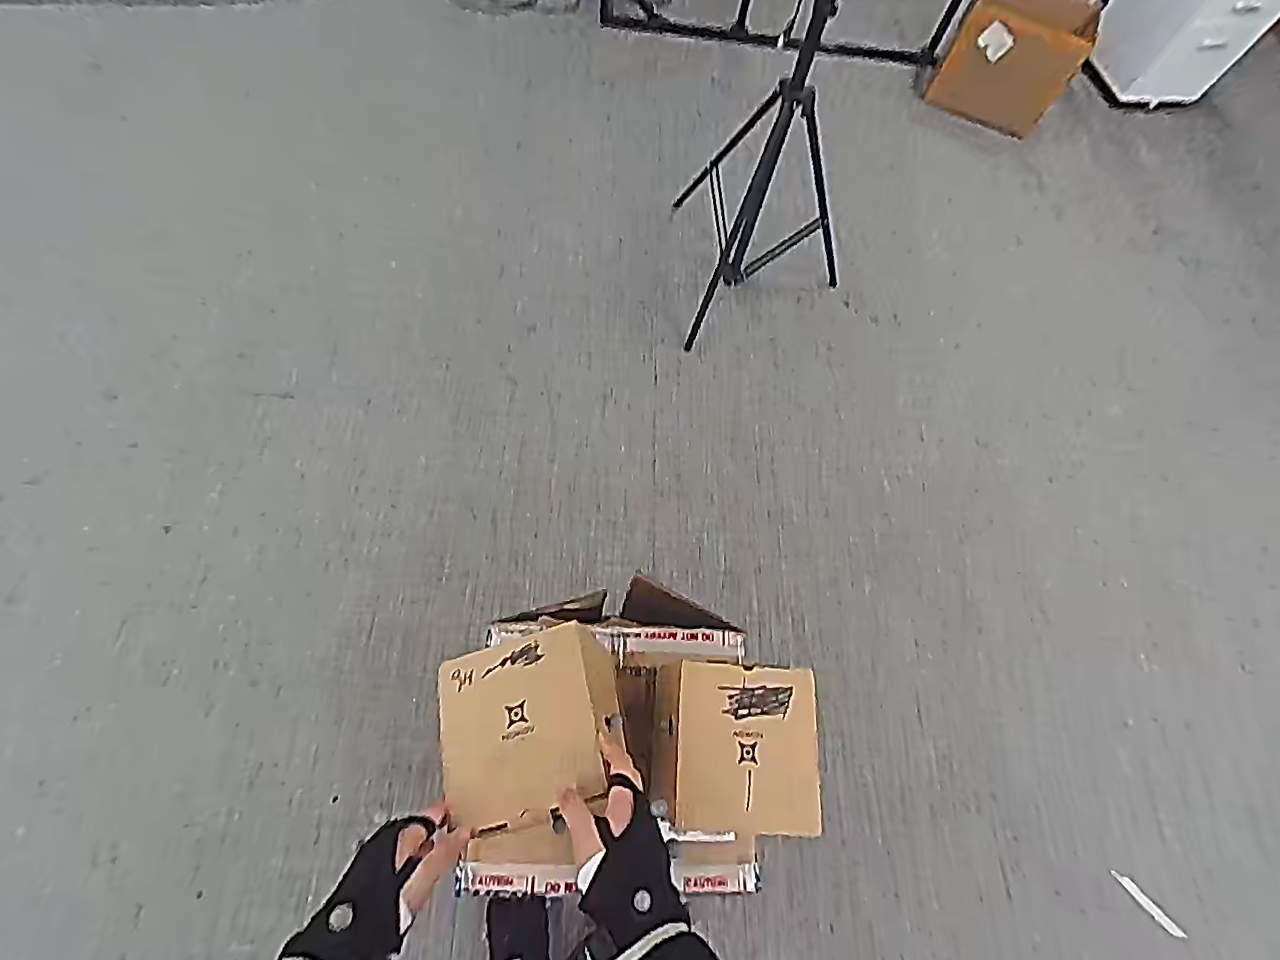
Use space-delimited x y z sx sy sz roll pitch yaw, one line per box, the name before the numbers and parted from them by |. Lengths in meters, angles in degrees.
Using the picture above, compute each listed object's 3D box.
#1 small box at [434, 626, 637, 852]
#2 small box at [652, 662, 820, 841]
small box | -0.112 0.292 0.618 0.168 0.176 0.179 -19 59 1
small box | 0.110 0.333 0.685 0.168 0.176 0.179 7 68 -6
